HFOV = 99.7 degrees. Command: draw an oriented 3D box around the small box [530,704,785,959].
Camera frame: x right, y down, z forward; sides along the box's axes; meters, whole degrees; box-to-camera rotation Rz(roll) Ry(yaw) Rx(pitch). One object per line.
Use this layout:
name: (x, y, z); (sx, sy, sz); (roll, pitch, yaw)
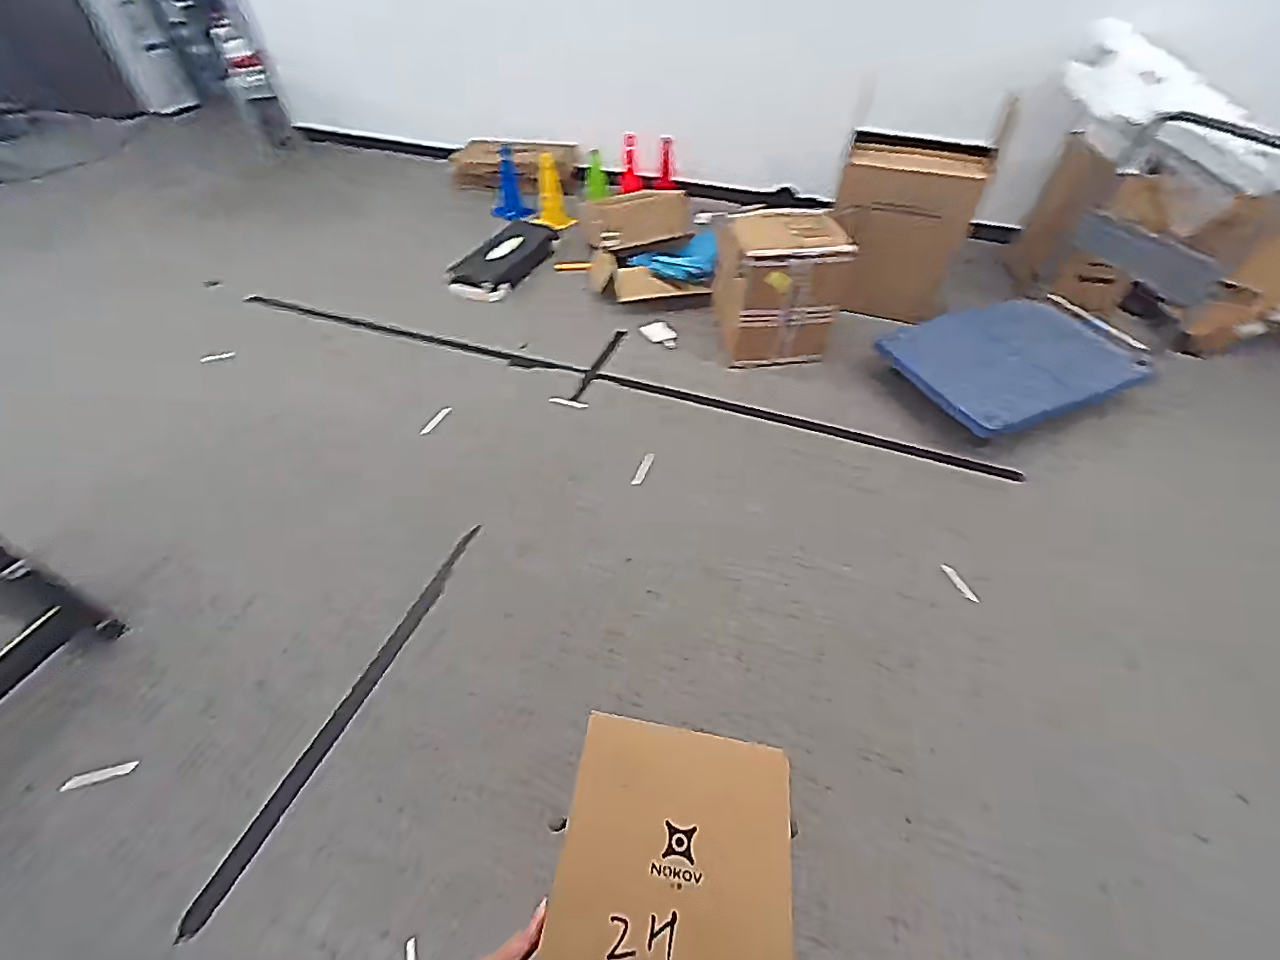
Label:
small box: (0.015, 0.315, 0.448); (0.168, 0.176, 0.179); (9, 49, 2)
